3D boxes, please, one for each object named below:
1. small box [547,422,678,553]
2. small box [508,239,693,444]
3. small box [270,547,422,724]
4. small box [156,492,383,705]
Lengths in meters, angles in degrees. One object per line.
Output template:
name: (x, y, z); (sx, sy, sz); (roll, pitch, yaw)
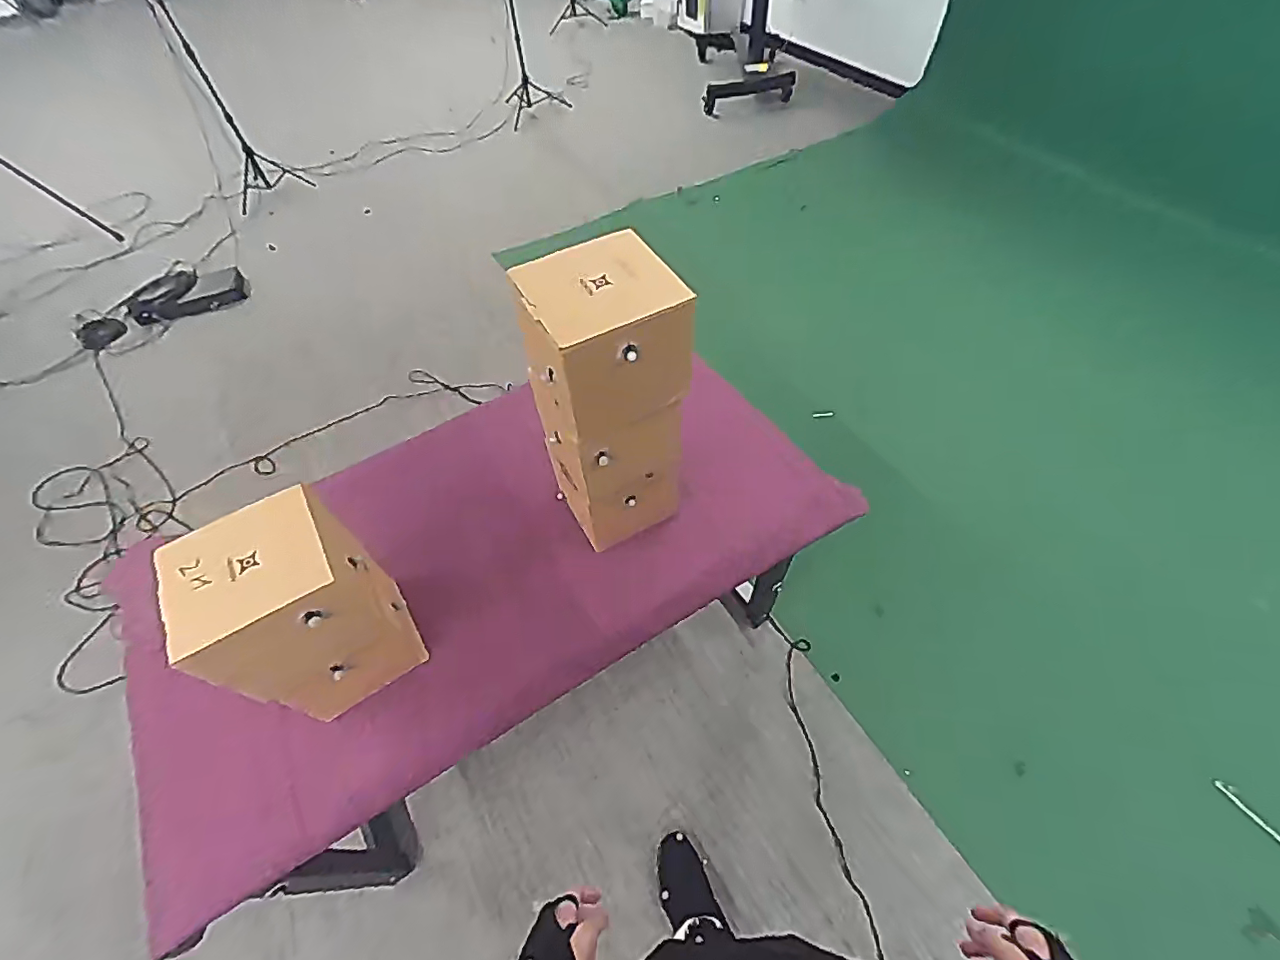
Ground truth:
small box: (-0.045, 0.004, 0.977); (0.179, 0.176, 0.168); (-26, 58, -16)
small box: (-0.046, -0.175, 0.702); (0.179, 0.176, 0.168); (-24, 58, -14)
small box: (-0.458, 0.240, 0.830); (0.179, 0.176, 0.168); (-31, 59, -17)
small box: (-0.454, 0.153, 0.688); (0.179, 0.176, 0.168); (-29, 58, -17)
